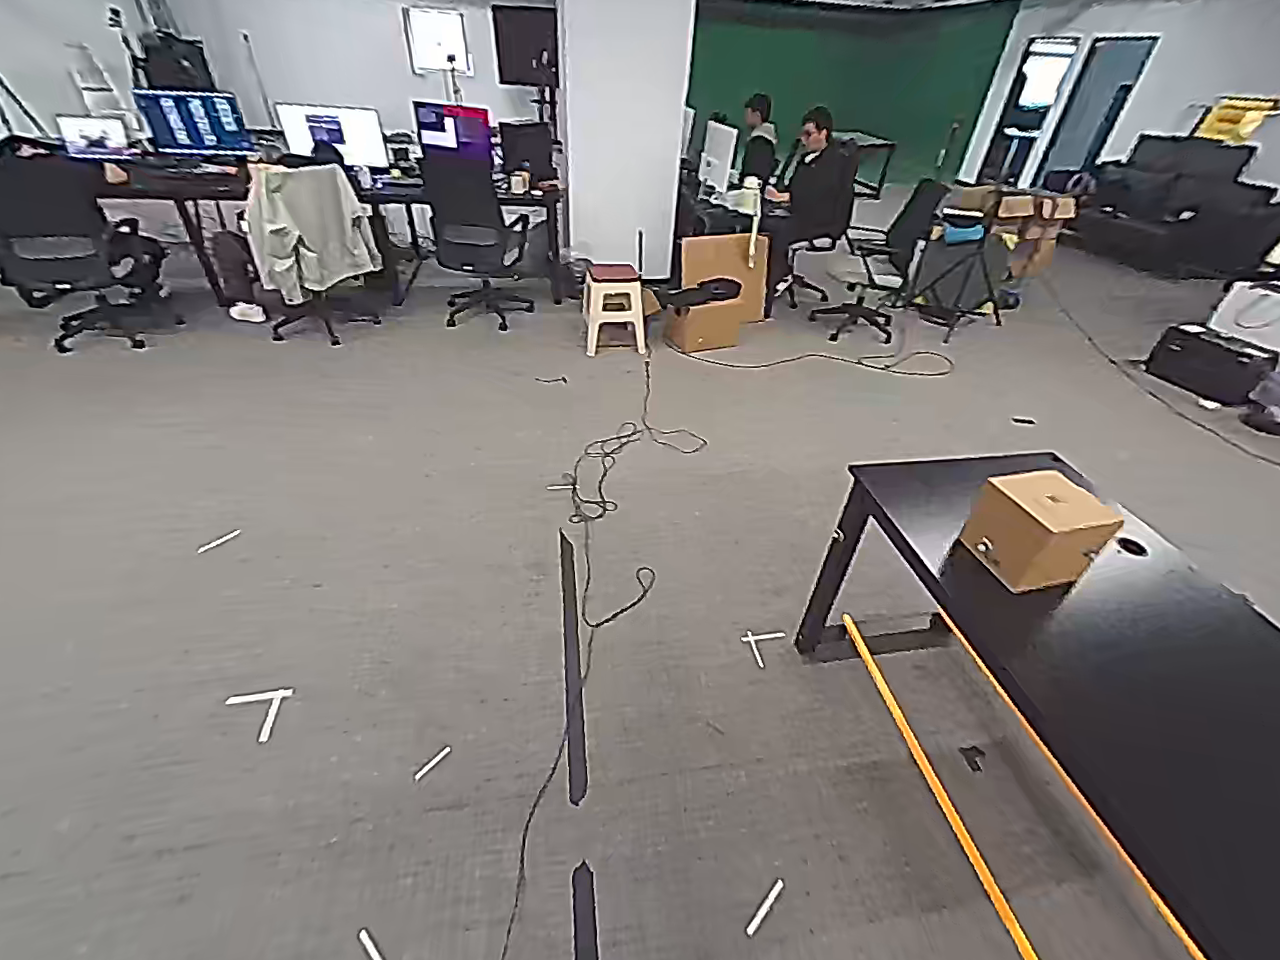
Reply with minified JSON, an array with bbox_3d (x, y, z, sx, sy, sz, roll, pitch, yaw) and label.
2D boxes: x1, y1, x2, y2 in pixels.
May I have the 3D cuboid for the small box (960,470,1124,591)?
[{"bbox_3d":[0.803,0.103,1.101,0.179,0.176,0.168,-8,38,-13],"label":"small box"}]
